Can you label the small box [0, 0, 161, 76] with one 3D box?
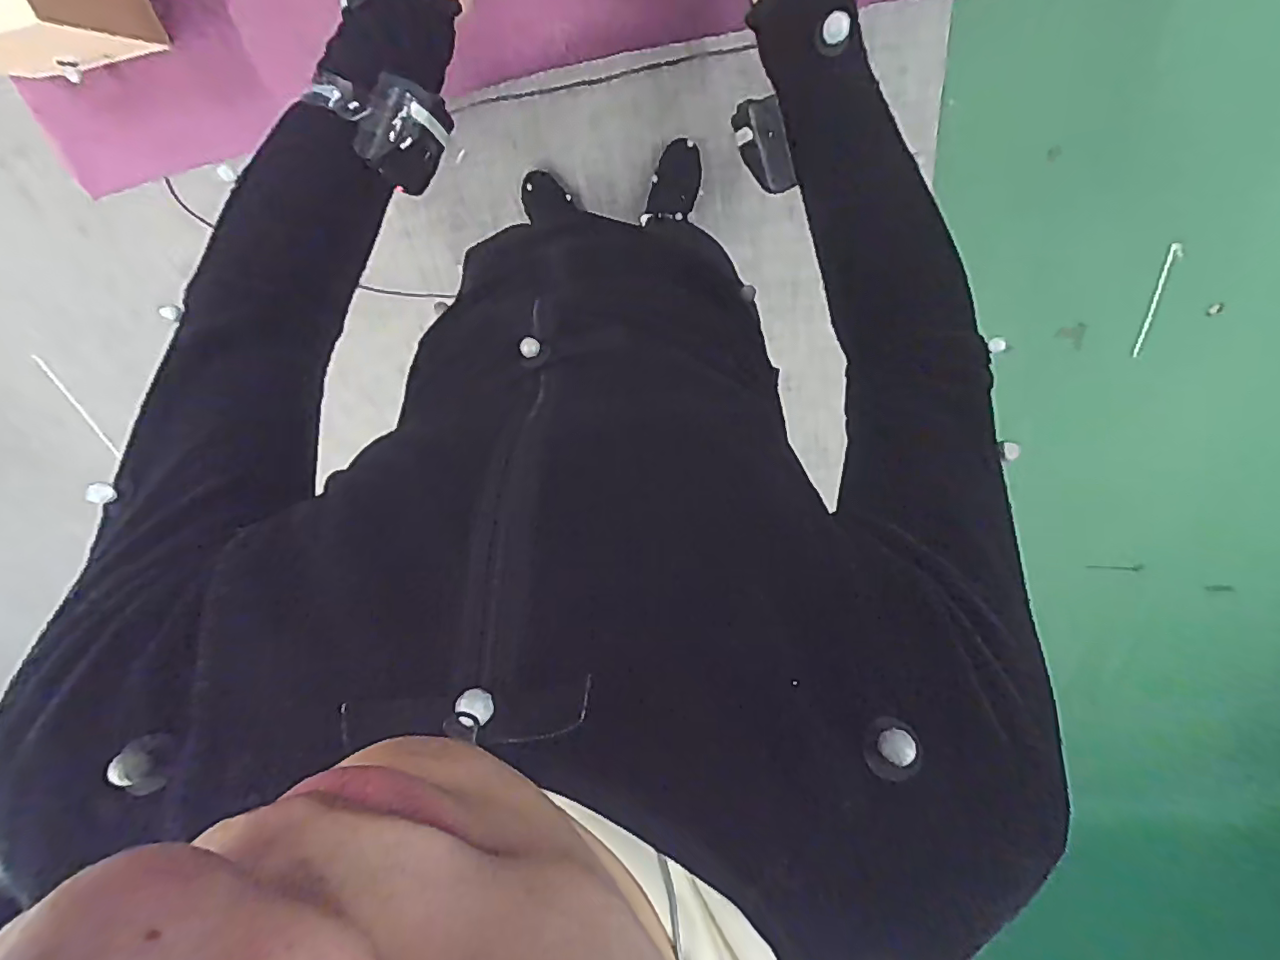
[{"bbox_3d":[-0.632,-0.511,0.511,0.168,0.176,0.179,-8,122,5],"label":"small box"}]
